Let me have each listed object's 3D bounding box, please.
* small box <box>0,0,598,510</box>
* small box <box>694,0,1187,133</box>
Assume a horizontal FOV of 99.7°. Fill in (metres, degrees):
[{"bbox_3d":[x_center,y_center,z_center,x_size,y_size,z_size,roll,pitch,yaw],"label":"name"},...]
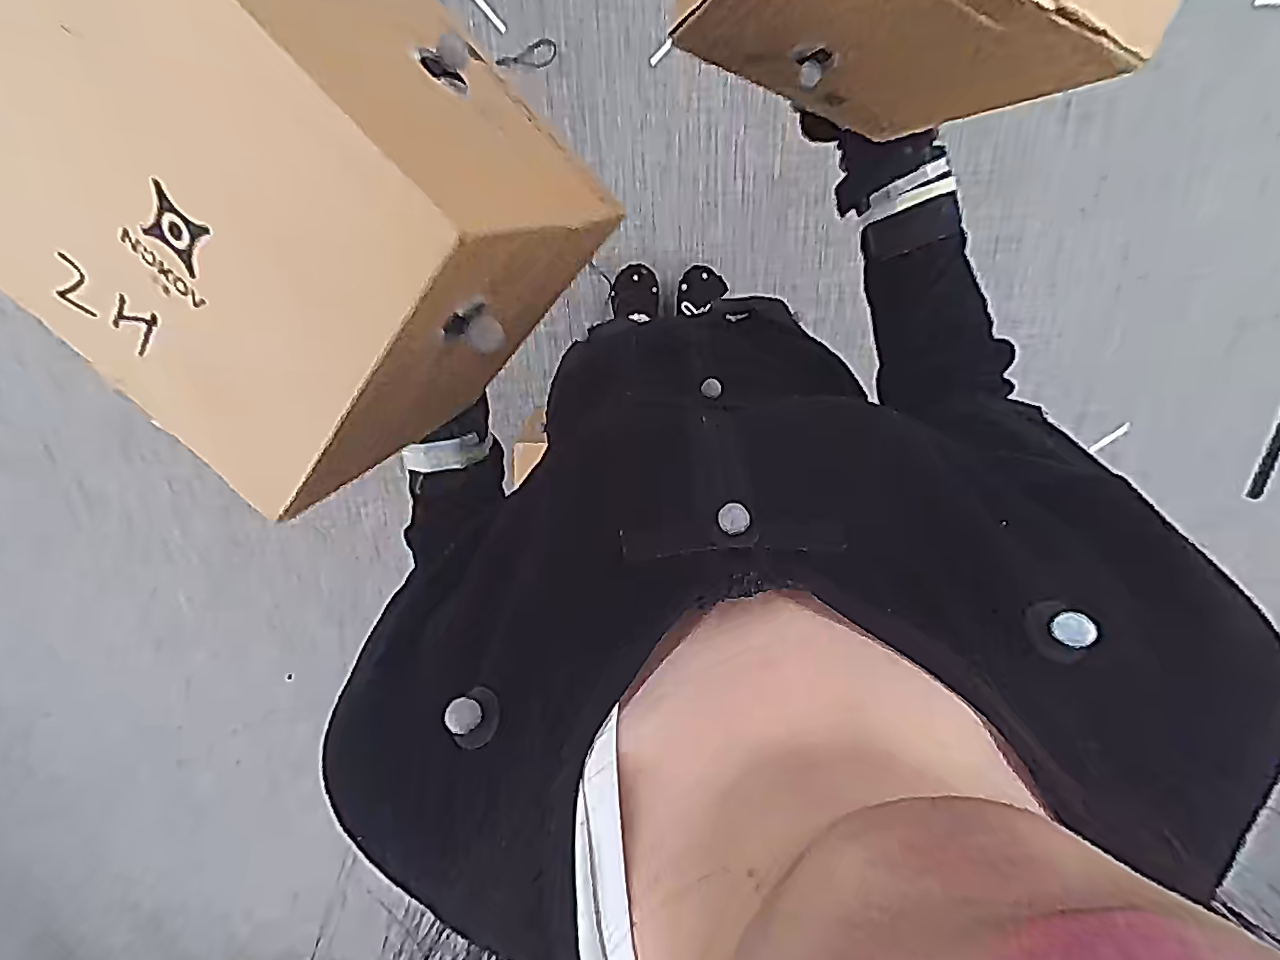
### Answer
[{"bbox_3d":[-0.141,-0.125,0.265,0.168,0.176,0.179,45,121,-8],"label":"small box"},{"bbox_3d":[0.143,-0.294,0.247,0.168,0.176,0.179,8,111,-21],"label":"small box"}]
